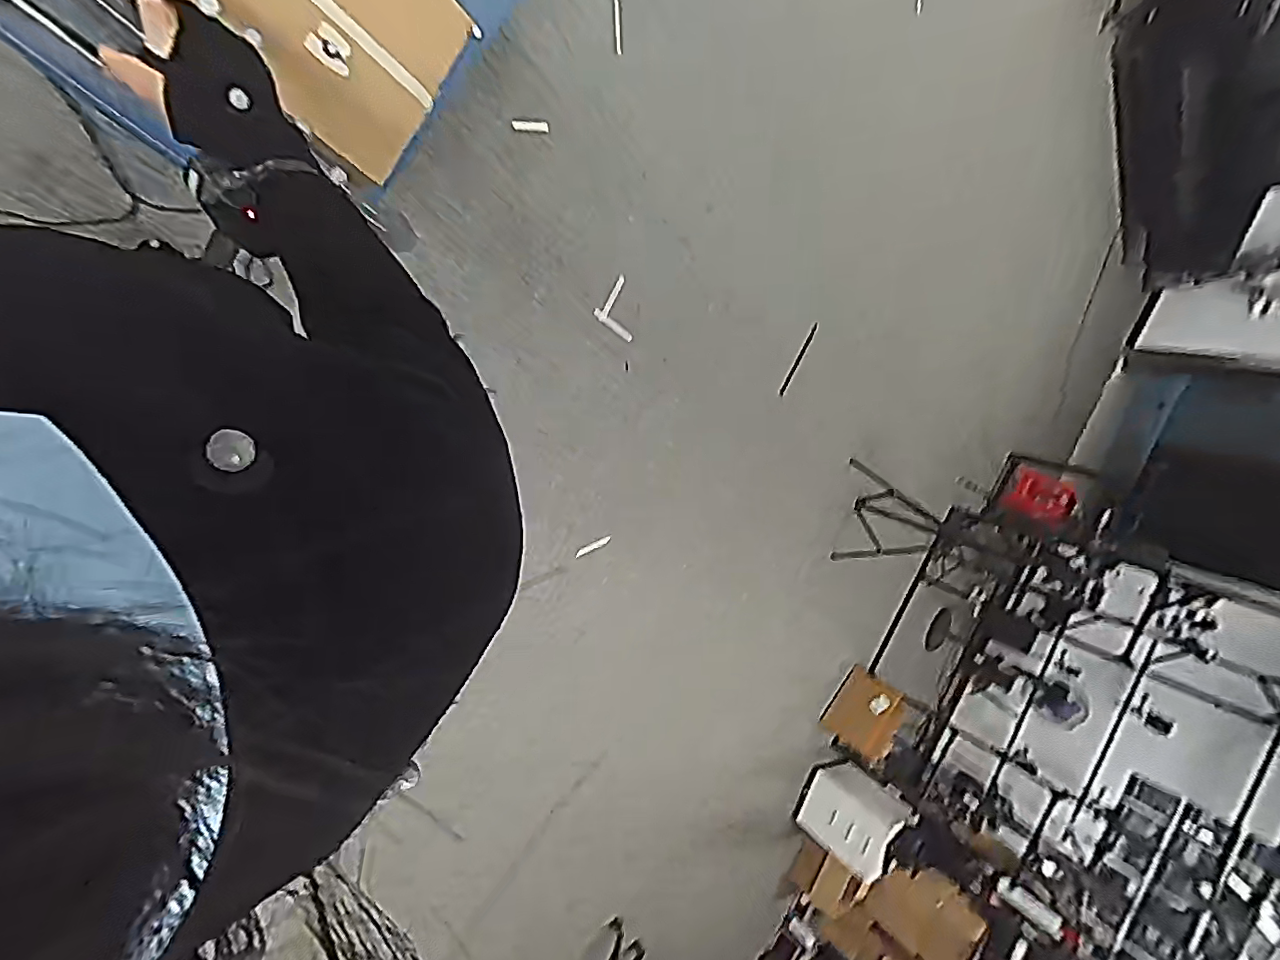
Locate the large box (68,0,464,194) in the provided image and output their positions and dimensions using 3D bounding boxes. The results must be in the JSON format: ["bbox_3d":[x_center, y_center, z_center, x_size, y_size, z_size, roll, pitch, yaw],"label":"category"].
[{"bbox_3d":[-0.574,-0.731,0.848,0.408,0.320,0.320,31,87,-44],"label":"large box"}]
